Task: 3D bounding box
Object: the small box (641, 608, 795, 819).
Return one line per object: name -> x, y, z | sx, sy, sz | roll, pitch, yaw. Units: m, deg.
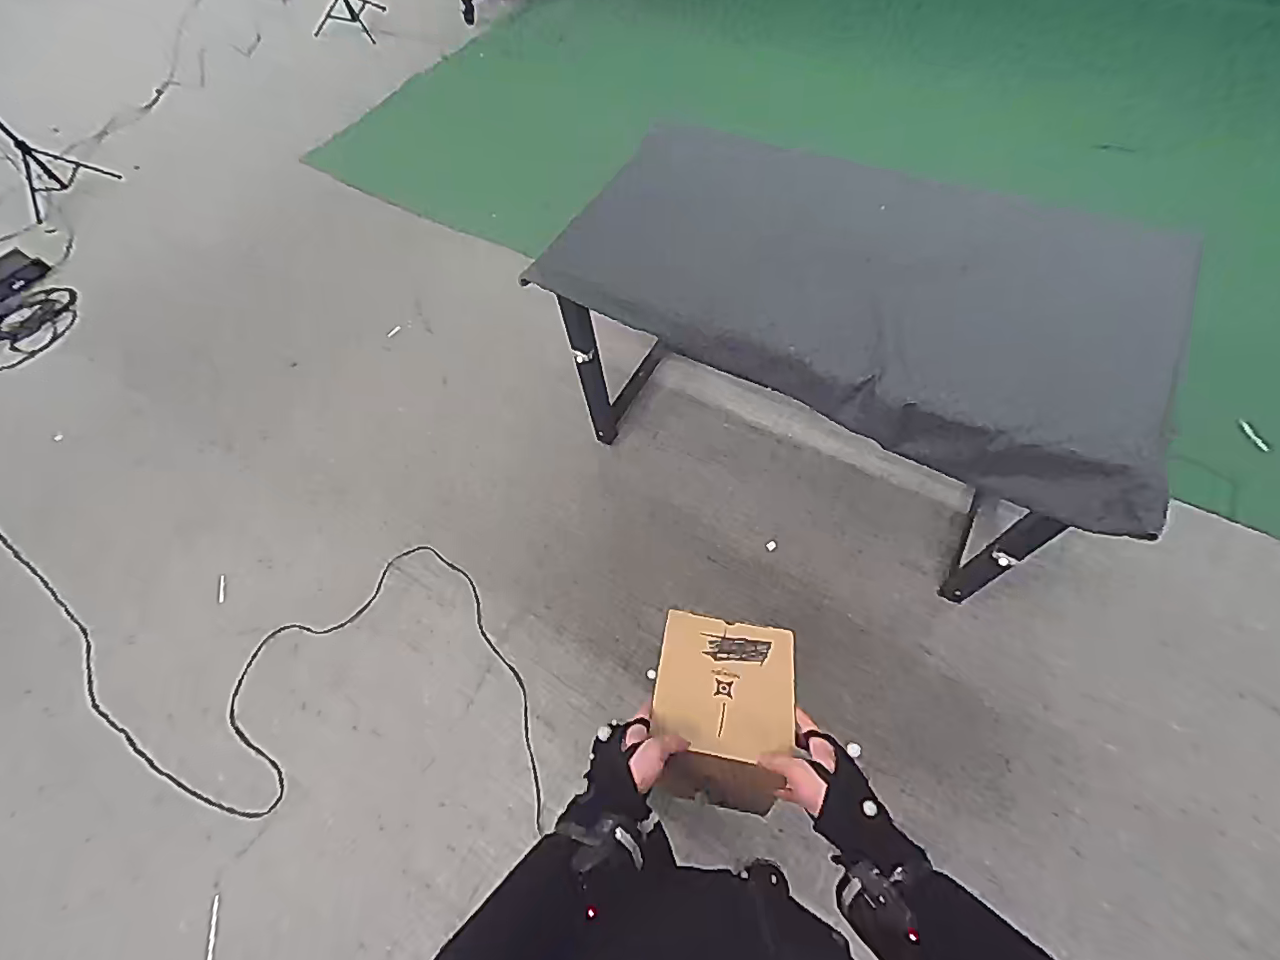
small box -> 0.096, 0.296, 0.688 | 0.168, 0.176, 0.179 | 9, 44, 7
